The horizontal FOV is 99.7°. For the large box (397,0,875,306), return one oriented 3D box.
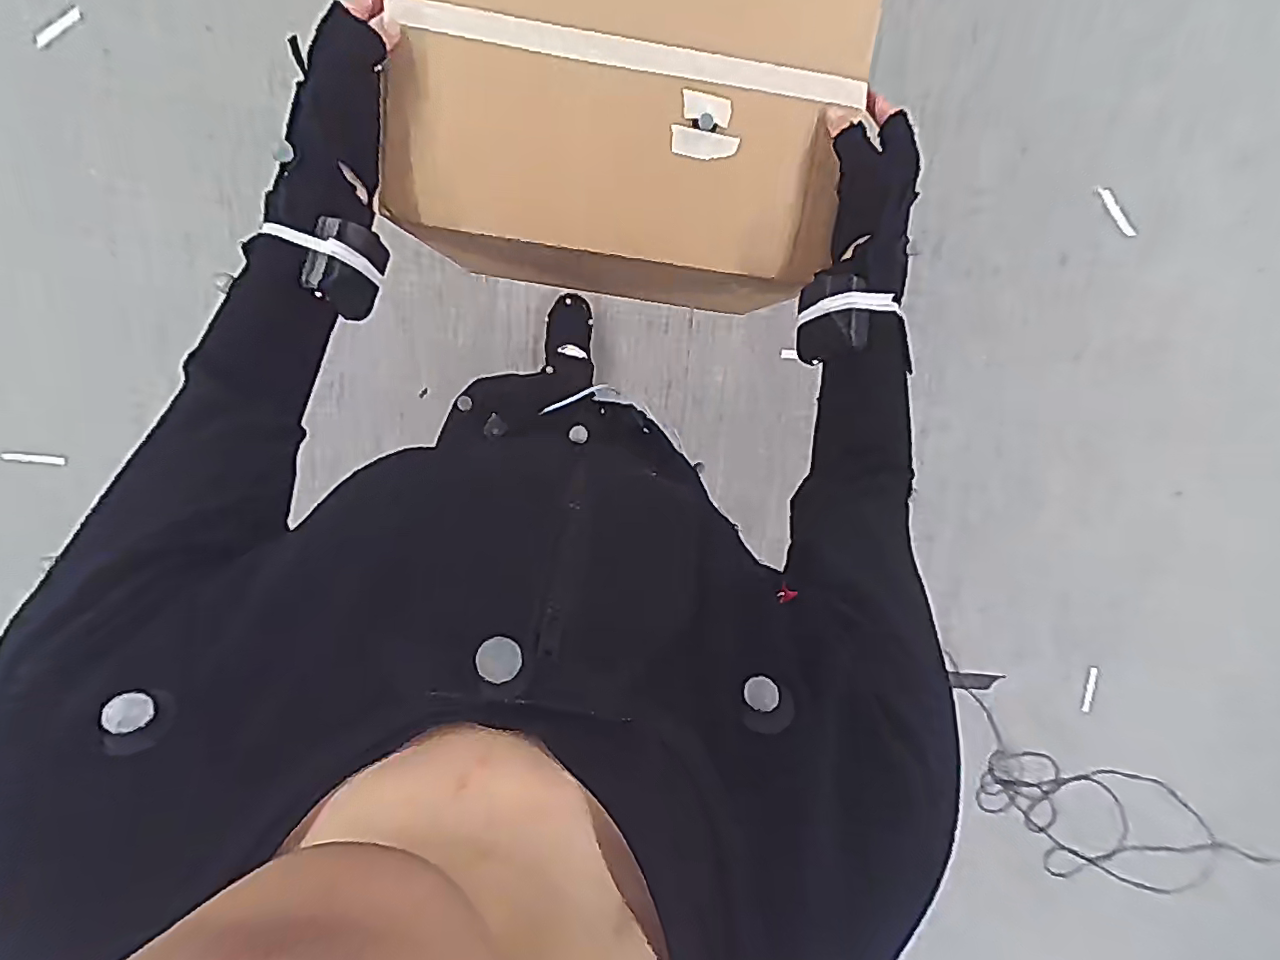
[{"bbox_3d":[-0.014,-0.395,0.611,0.408,0.320,0.320,7,103,-6],"label":"large box"}]
